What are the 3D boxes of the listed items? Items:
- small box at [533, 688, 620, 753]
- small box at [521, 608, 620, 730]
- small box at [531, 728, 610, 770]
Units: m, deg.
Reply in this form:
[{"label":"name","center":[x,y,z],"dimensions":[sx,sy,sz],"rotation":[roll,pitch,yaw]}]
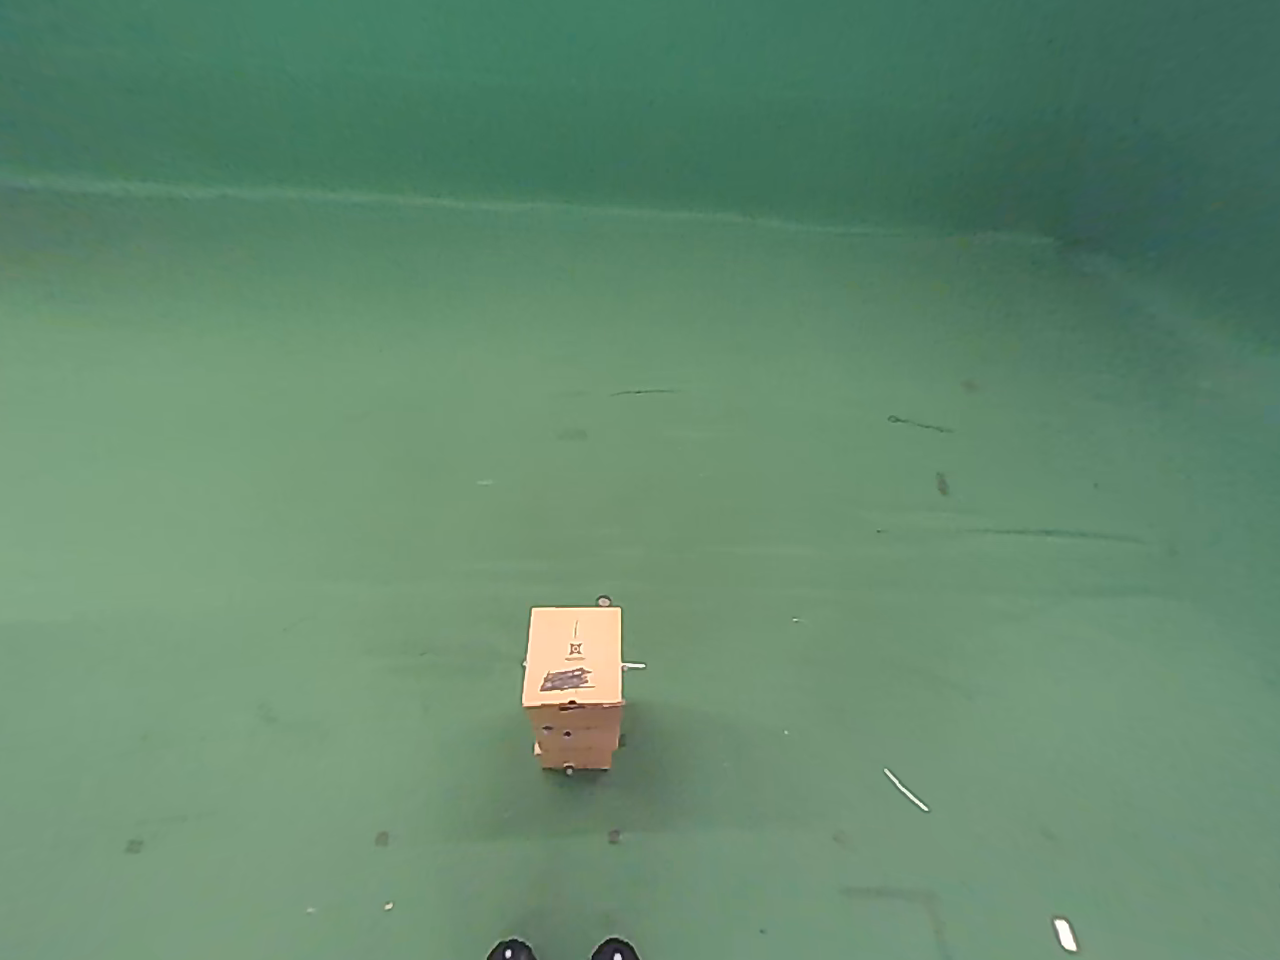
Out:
[{"label":"small box","center":[-0.128,0.456,1.132],"dimensions":[0.168,0.176,0.179],"rotation":[1,51,-4]},{"label":"small box","center":[-0.120,0.354,1.003],"dimensions":[0.168,0.176,0.179],"rotation":[1,51,-4]},{"label":"small box","center":[-0.148,0.550,1.241],"dimensions":[0.168,0.176,0.179],"rotation":[2,52,-1]}]
